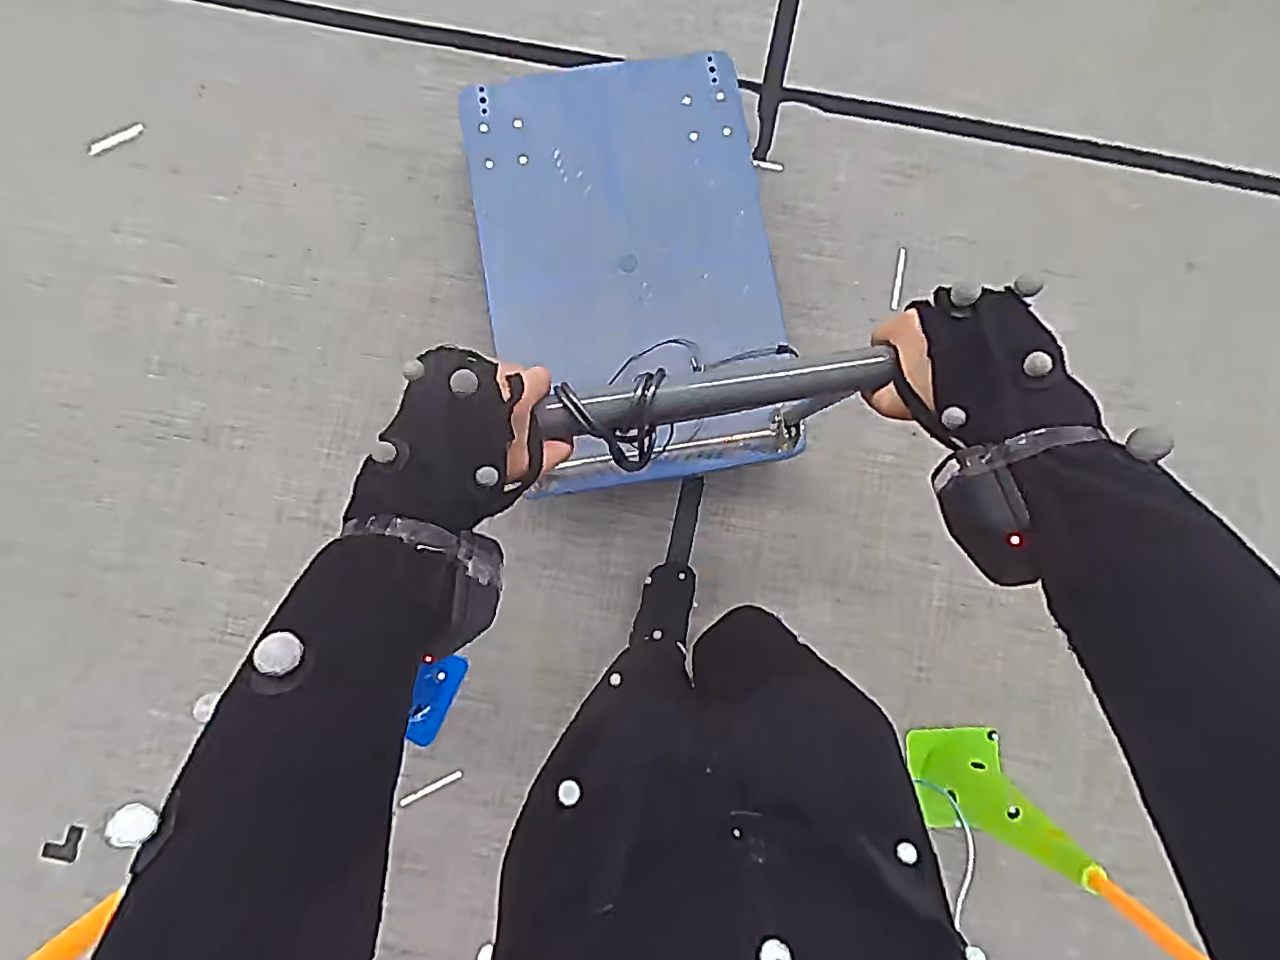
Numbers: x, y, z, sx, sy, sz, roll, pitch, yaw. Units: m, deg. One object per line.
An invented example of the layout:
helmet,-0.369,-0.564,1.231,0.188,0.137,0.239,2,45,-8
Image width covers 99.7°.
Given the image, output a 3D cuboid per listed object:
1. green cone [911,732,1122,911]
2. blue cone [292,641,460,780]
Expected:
green cone,0.675,0.619,0.964,0.200,0.368,0.202,-2,85,-1
blue cone,-0.492,0.434,0.980,0.193,0.380,0.192,26,84,2
